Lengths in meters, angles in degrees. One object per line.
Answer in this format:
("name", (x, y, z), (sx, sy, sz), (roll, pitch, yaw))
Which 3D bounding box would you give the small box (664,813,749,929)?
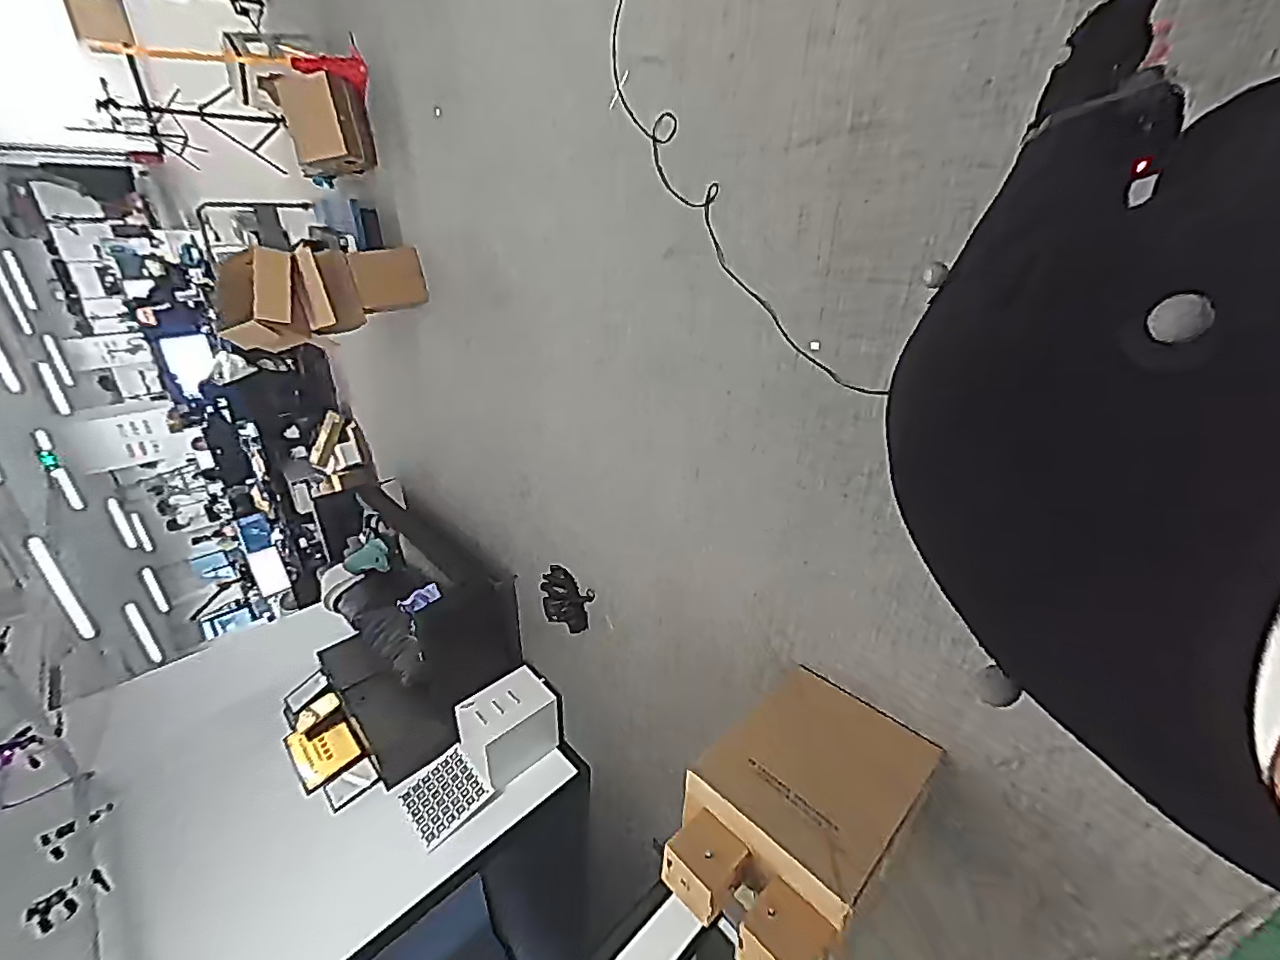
("small box", (0.192, 1.111, 1.552), (0.179, 0.176, 0.168), (25, 122, 39))

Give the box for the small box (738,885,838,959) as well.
("small box", (0.376, 1.190, 1.383), (0.179, 0.176, 0.168), (21, 121, 40))
